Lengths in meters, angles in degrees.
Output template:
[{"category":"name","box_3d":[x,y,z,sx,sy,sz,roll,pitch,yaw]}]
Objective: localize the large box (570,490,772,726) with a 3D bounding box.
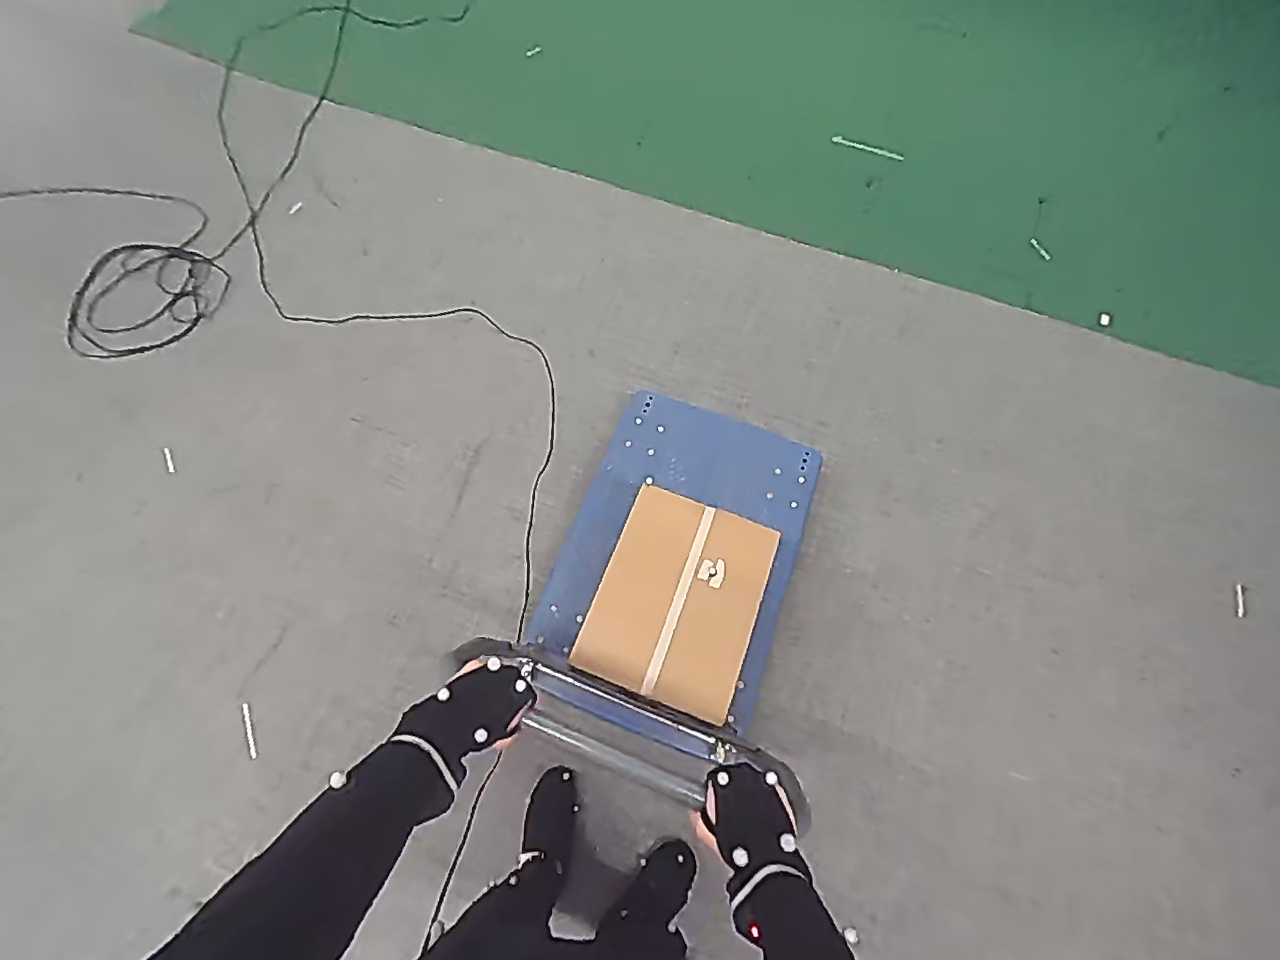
[{"category":"large box","box_3d":[0.066,0.300,1.220,0.320,0.320,0.408,20,66,6]}]
